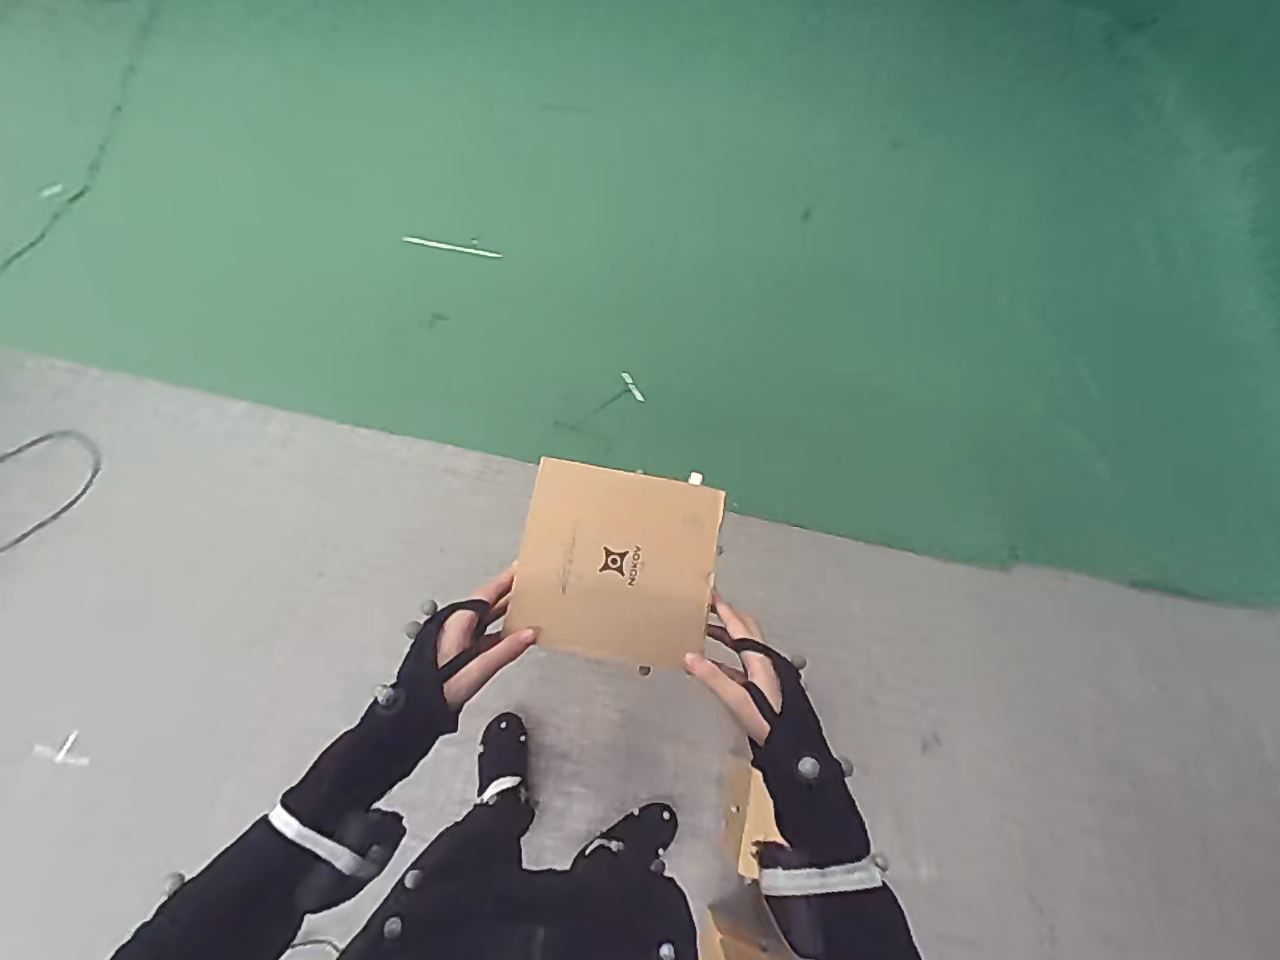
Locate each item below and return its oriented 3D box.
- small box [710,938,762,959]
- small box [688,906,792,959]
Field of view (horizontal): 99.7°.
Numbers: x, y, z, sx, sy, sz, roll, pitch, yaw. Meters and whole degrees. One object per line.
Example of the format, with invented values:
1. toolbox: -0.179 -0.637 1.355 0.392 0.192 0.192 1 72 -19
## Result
1. small box: 0.187 0.921 0.902 0.168 0.176 0.179 21 66 9
2. small box: 0.194 0.979 1.057 0.179 0.176 0.168 21 66 10
